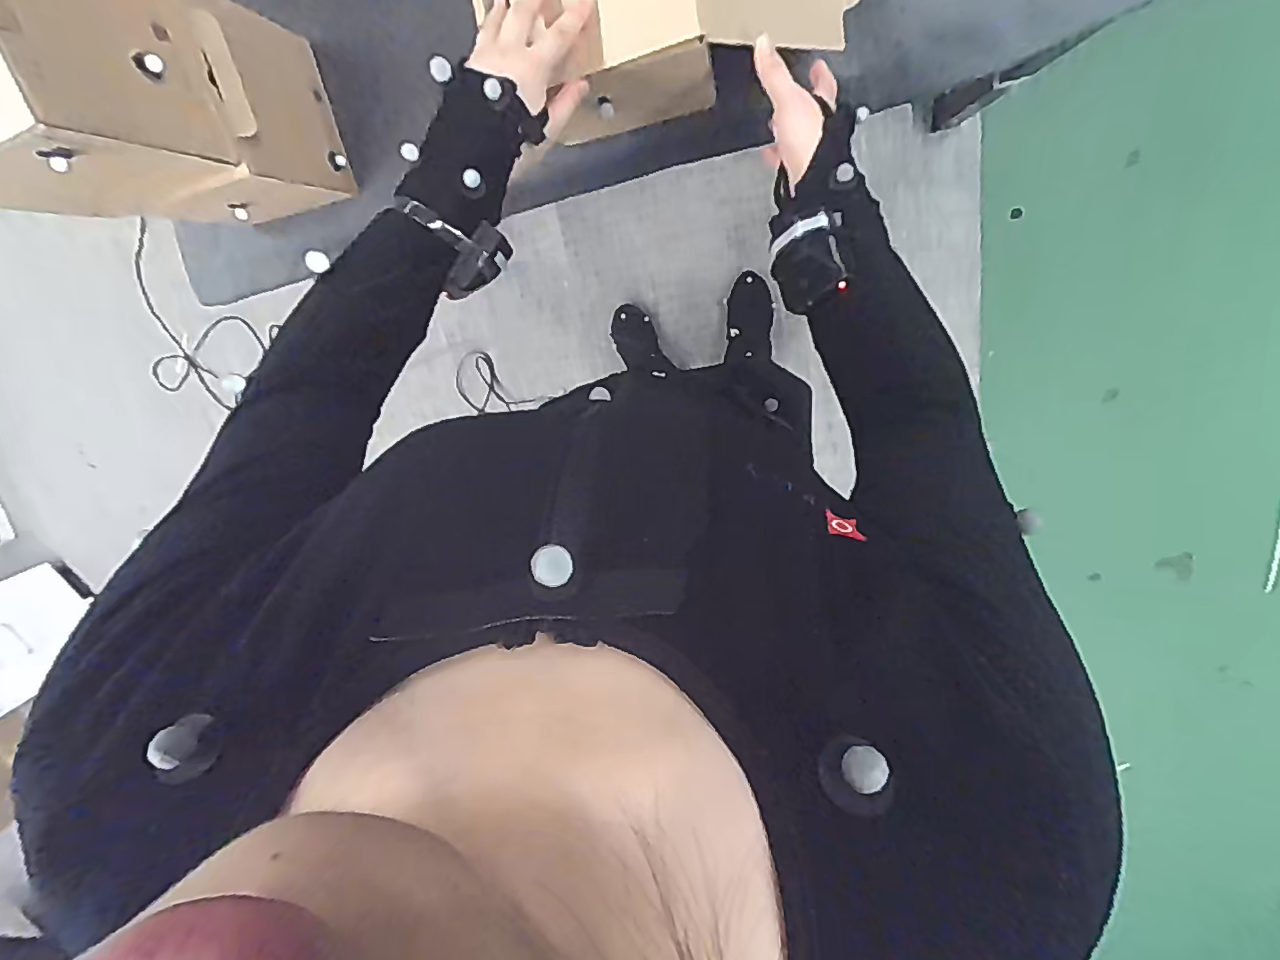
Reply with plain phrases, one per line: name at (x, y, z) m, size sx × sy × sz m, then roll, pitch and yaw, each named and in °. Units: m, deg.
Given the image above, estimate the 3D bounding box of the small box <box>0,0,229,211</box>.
small box at (-0.506, -0.339, 0.448) m, size 0.179 × 0.176 × 0.168 m, roll -11°, pitch 109°, yaw 14°

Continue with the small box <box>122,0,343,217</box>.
small box at (-0.464, -0.398, 0.594) m, size 0.179 × 0.176 × 0.168 m, roll -7°, pitch 110°, yaw 13°
